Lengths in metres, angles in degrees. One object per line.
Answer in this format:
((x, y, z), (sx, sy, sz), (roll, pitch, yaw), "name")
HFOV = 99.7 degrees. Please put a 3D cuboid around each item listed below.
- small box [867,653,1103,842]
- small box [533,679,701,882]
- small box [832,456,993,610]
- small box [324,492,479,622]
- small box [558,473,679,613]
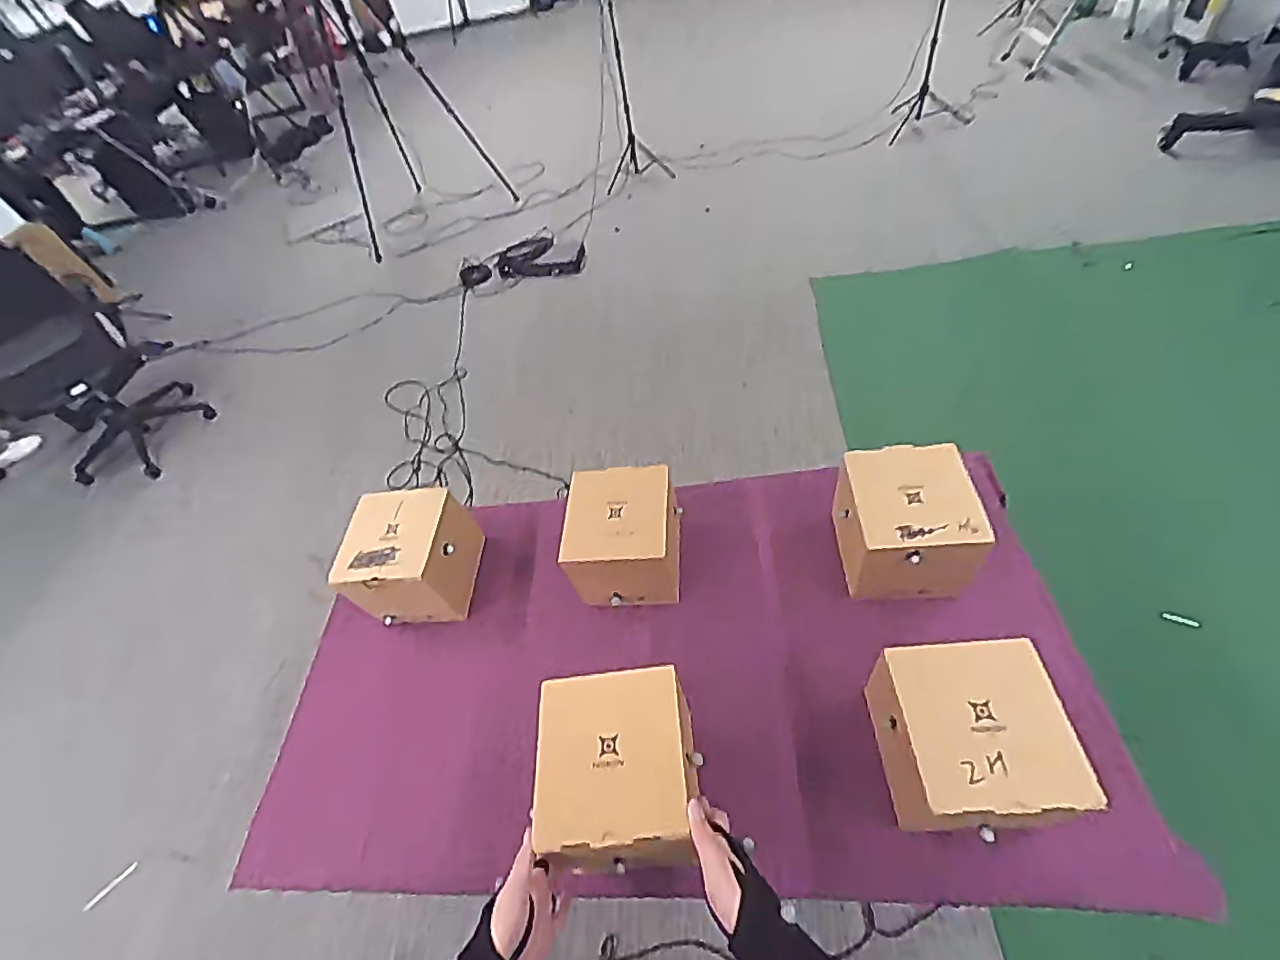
((0.388, 0.327, 0.654), (0.168, 0.176, 0.179), (-6, 52, 8), "small box")
((-0.020, 0.361, 0.647), (0.168, 0.176, 0.179), (-8, 50, 4), "small box")
((0.404, 0.085, 0.840), (0.168, 0.176, 0.179), (-4, 52, 9), "small box")
((-0.401, 0.141, 0.945), (0.168, 0.176, 0.179), (-3, 53, 7), "small box")
((-0.026, 0.107, 0.906), (0.168, 0.176, 0.179), (-3, 54, 9), "small box")
